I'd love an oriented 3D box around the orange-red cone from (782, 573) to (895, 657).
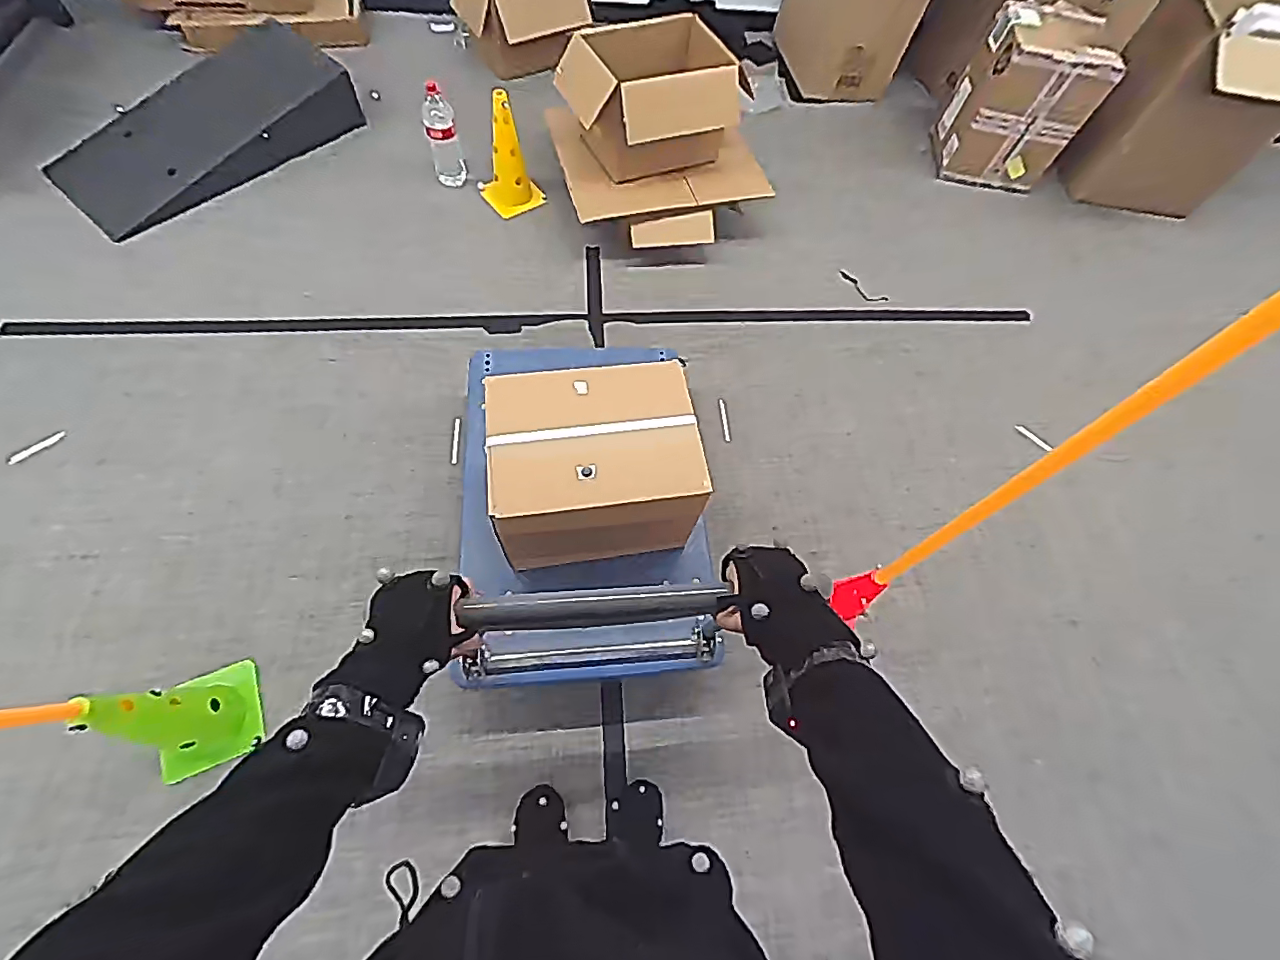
[{"bbox_3d":[0.484,0.279,1.250,0.199,0.360,0.198,4,64,-4],"label":"orange-red cone"}]
